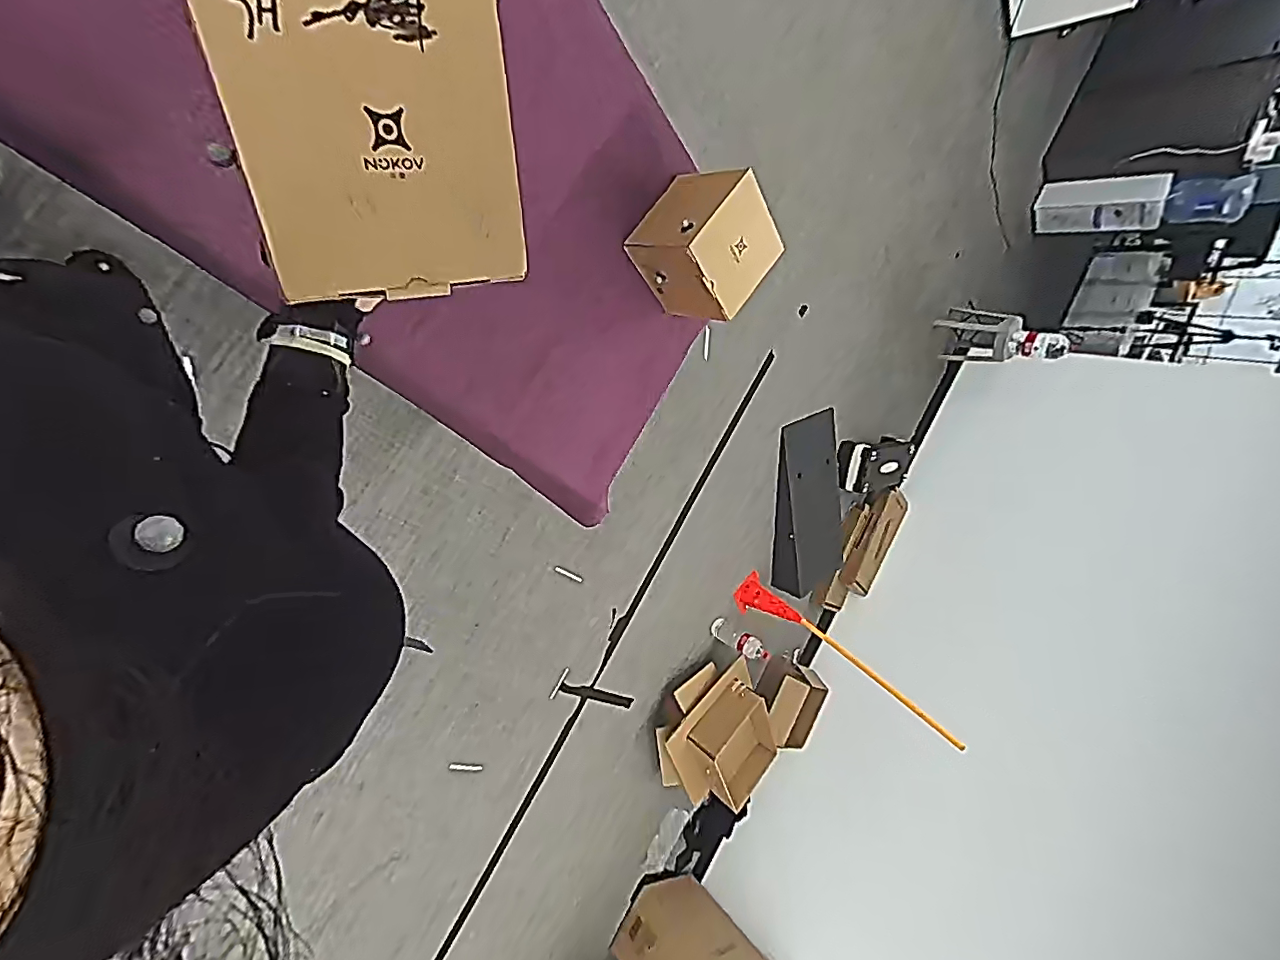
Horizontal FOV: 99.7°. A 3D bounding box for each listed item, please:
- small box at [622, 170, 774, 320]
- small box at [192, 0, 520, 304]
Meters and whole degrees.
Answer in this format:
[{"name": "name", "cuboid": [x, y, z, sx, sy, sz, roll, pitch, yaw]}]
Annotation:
[{"name": "small box", "cuboid": [0.101, -0.414, 0.957, 0.179, 0.176, 0.168, -54, 135, -8]}, {"name": "small box", "cuboid": [-0.205, -0.244, 0.407, 0.168, 0.176, 0.179, -18, 124, -29]}]
